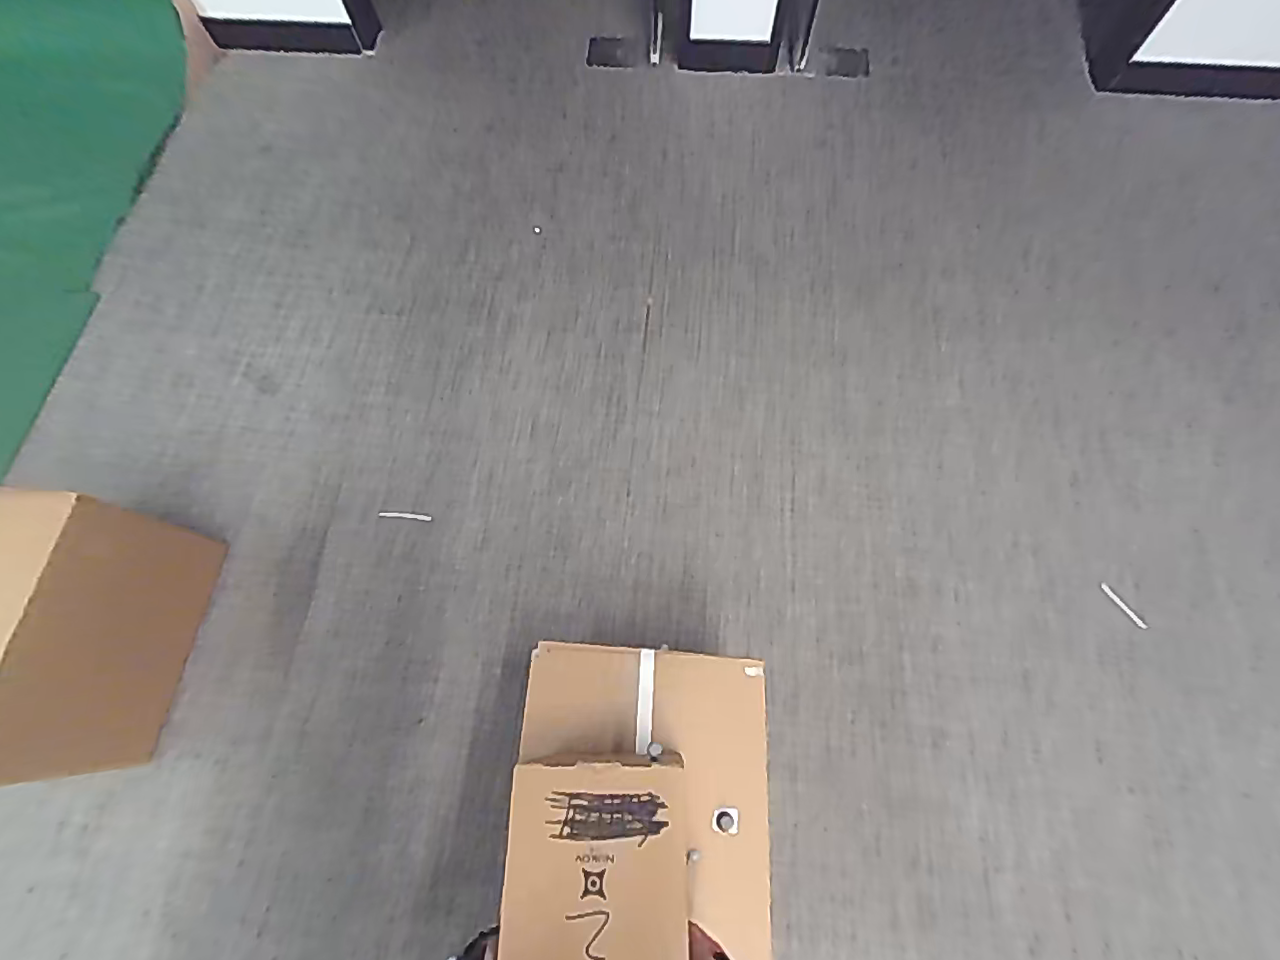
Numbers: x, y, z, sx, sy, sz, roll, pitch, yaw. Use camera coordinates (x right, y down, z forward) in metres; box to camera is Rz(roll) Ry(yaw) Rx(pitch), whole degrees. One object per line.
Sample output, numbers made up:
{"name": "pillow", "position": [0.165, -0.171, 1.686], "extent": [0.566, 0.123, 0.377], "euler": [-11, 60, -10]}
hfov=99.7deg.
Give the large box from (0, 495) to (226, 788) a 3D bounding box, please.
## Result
{"name": "large box", "position": [-0.997, 0.262, 0.890], "extent": [0.320, 0.320, 0.408], "euler": [3, 68, 3]}
